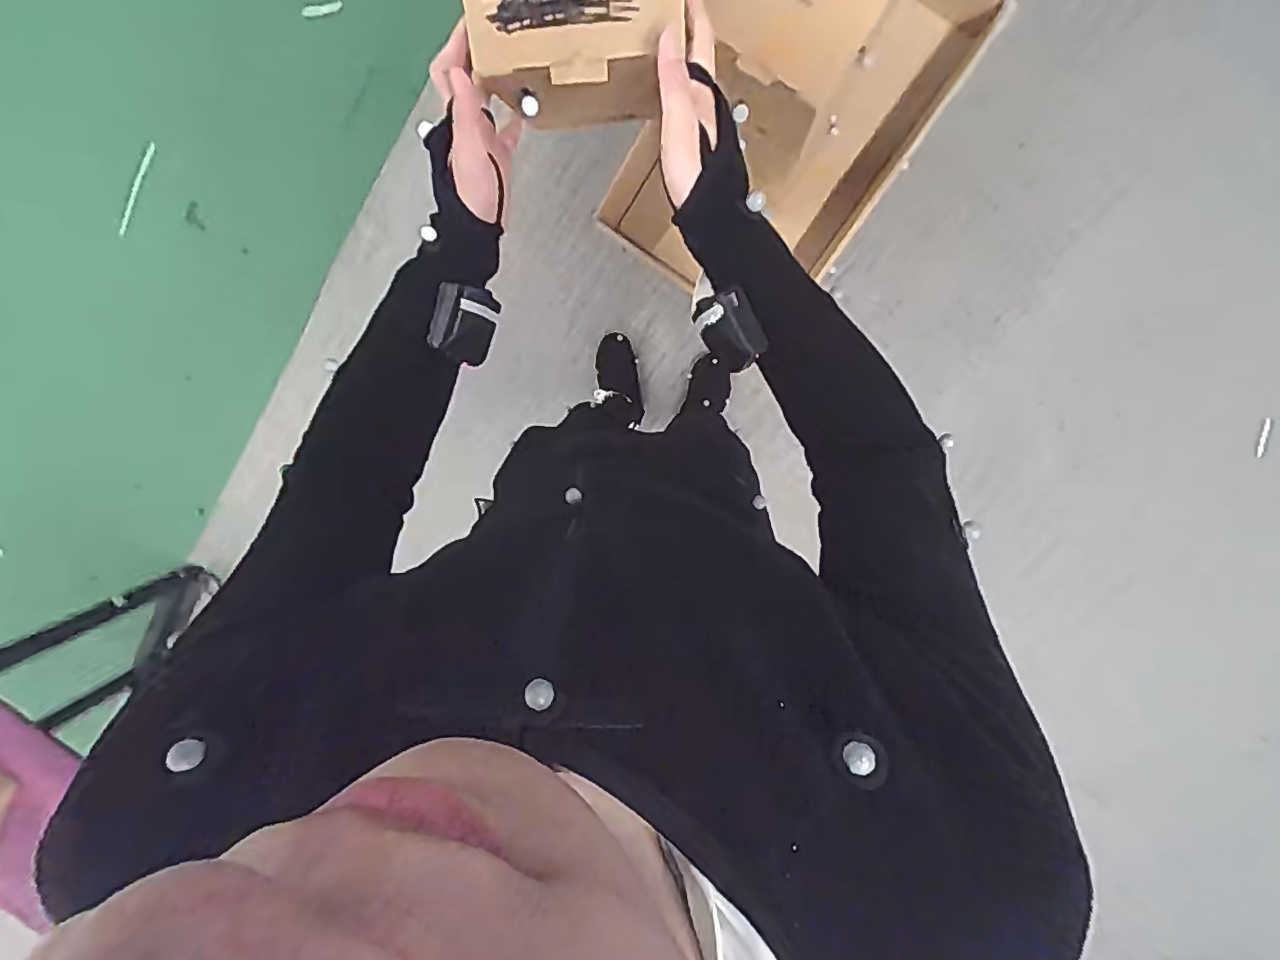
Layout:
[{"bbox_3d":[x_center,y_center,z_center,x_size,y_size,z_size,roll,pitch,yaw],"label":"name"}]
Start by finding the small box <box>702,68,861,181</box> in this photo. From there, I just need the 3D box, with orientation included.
[{"bbox_3d":[0.206,-0.569,0.776,0.168,0.176,0.179,33,105,-1],"label":"small box"}]

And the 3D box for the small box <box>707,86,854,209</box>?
[{"bbox_3d":[0.230,-0.608,0.933,0.168,0.176,0.179,36,106,-1],"label":"small box"}]

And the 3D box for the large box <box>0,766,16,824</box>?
[{"bbox_3d":[-1.795,0.847,1.248,0.320,0.320,0.408,38,107,-4],"label":"large box"}]

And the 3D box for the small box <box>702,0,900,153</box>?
[{"bbox_3d":[0.184,-0.525,0.621,0.168,0.176,0.179,33,107,-1],"label":"small box"}]
